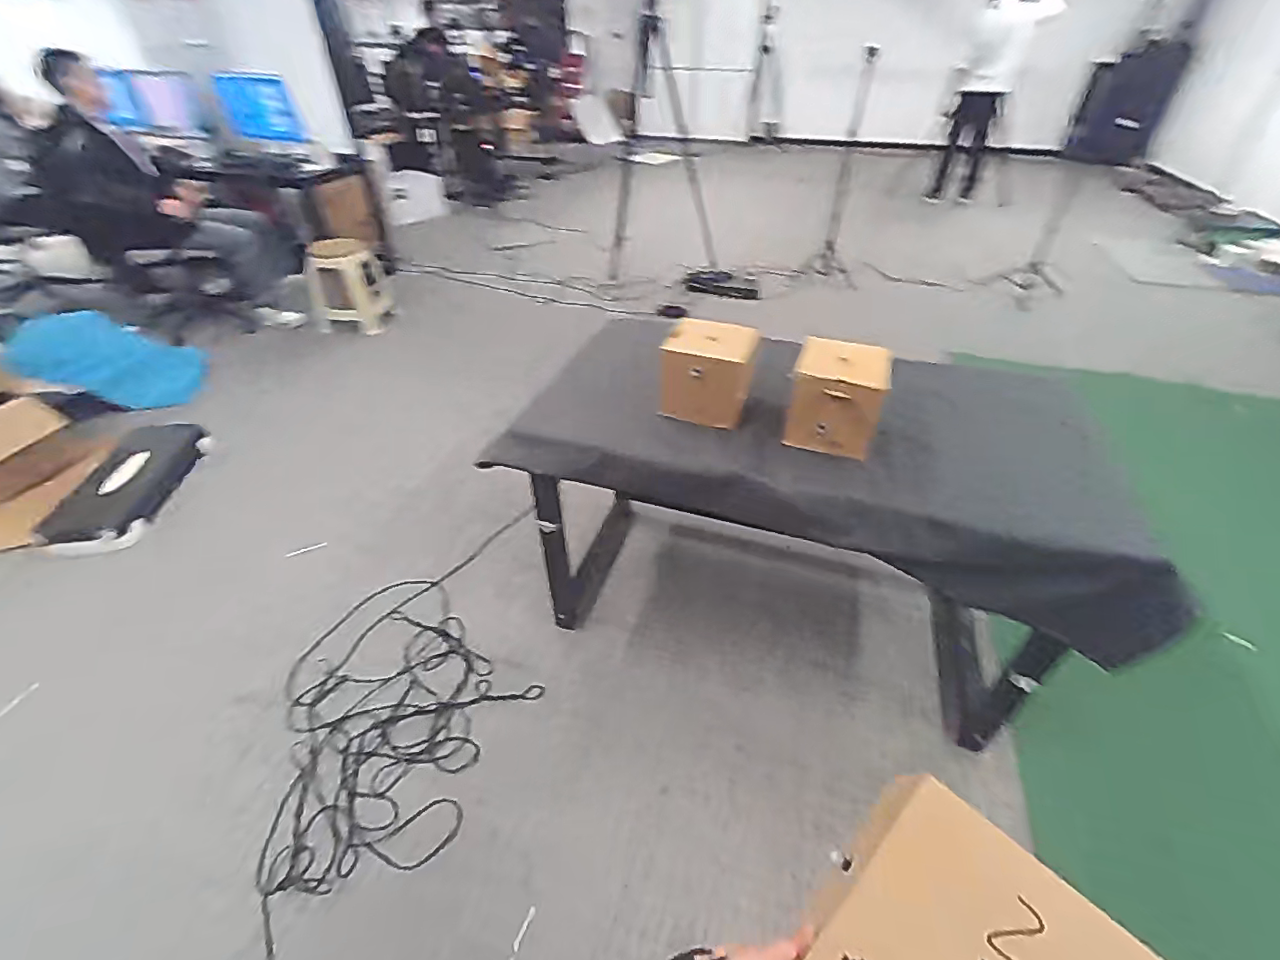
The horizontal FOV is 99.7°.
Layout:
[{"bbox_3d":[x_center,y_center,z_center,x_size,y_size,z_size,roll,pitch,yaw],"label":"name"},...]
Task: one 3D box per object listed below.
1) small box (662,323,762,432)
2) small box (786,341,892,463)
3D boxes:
[{"bbox_3d":[0.154,-0.225,1.189,0.179,0.176,0.168,15,42,17],"label":"small box"},{"bbox_3d":[0.406,-0.163,1.113,0.168,0.176,0.179,14,42,16],"label":"small box"}]
